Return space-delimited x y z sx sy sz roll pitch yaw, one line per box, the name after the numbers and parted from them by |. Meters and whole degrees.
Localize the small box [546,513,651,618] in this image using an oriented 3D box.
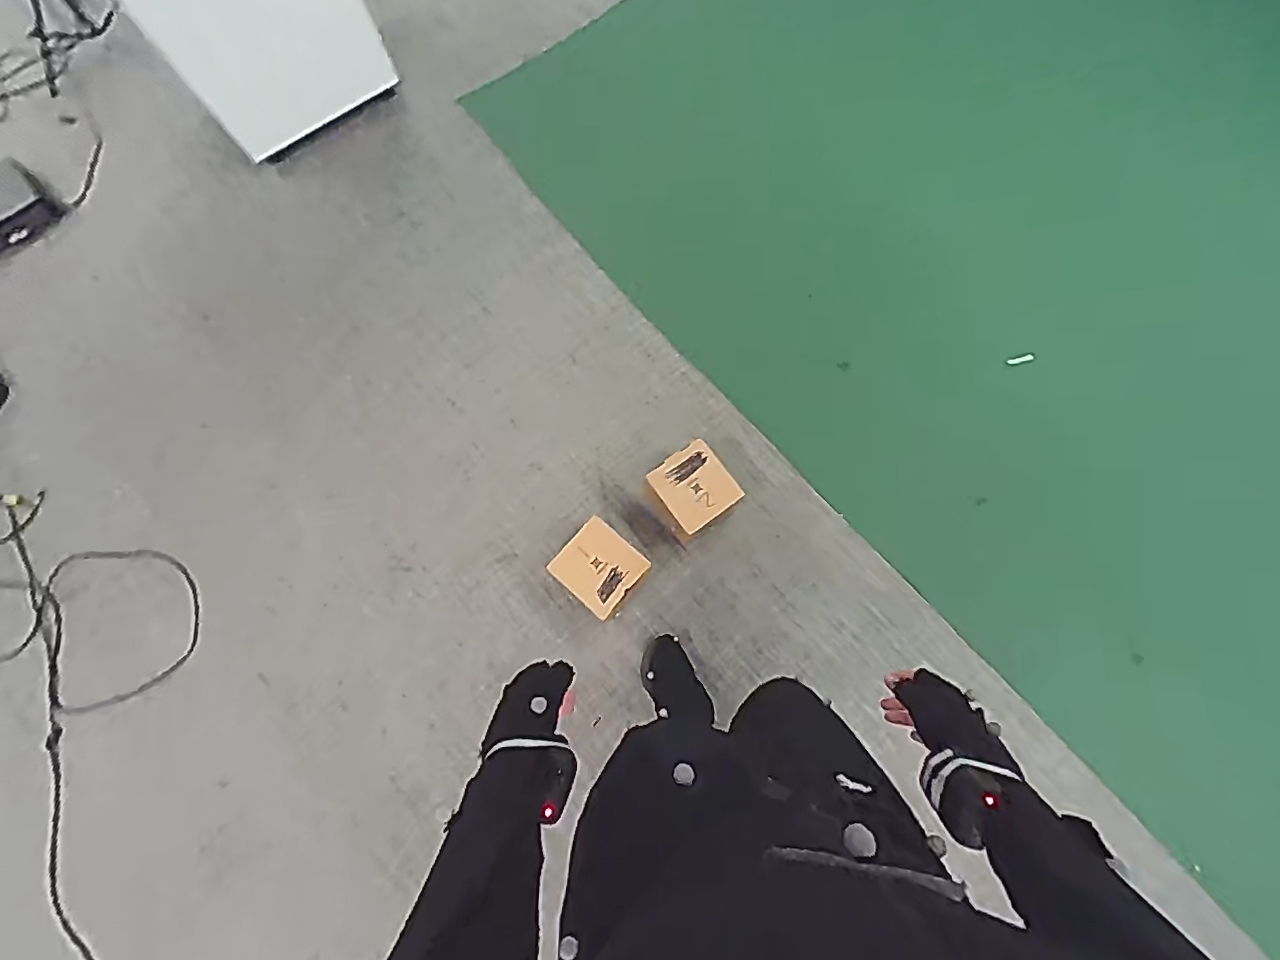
-0.091 0.206 1.275 0.179 0.176 0.168 40 78 11 | small box
